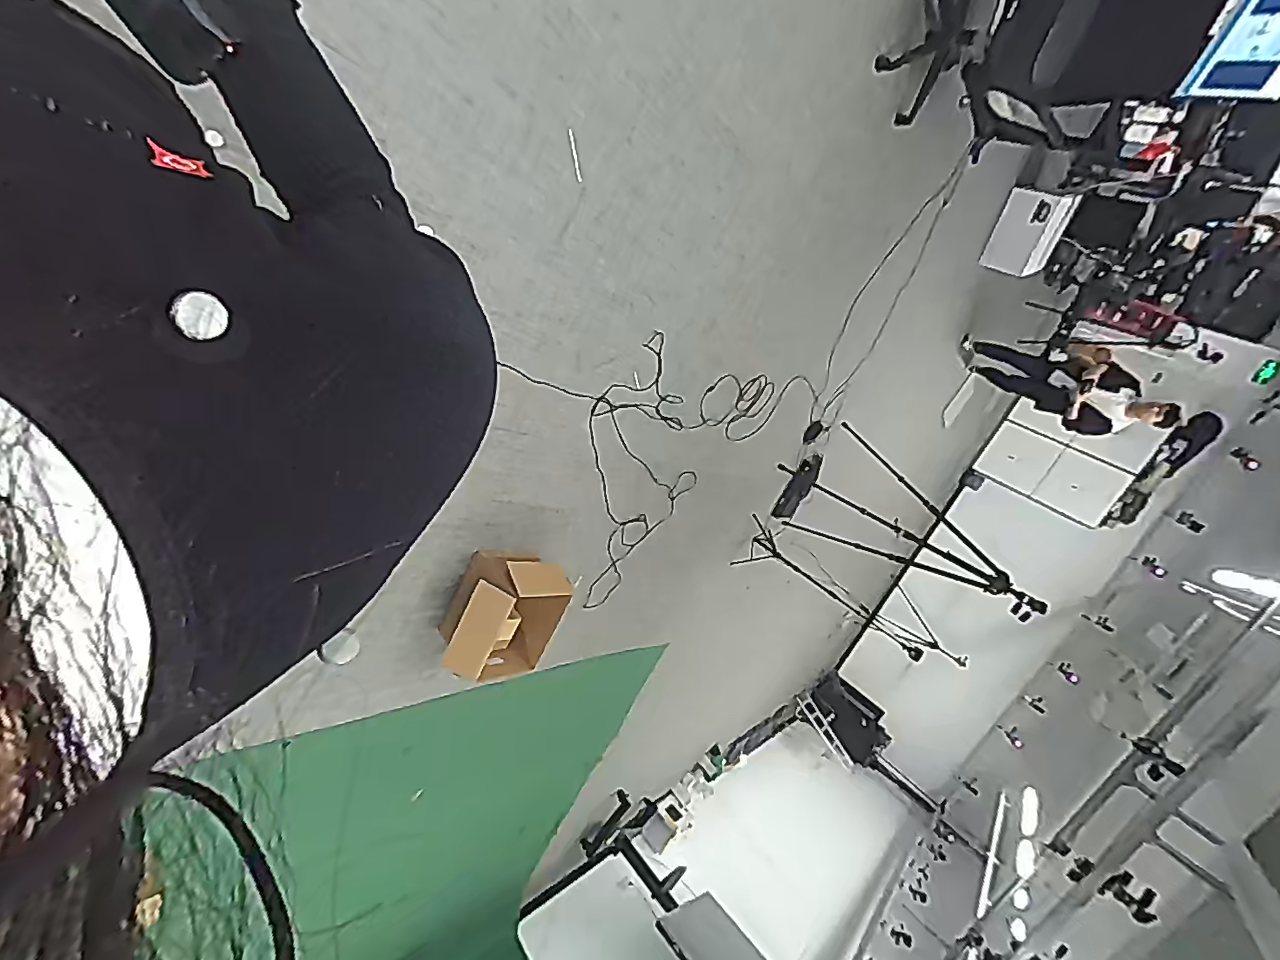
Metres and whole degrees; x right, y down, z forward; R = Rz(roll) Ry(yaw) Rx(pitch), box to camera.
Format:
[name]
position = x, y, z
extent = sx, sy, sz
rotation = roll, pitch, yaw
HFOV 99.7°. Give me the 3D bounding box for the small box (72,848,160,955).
[small box]
position = -1.678, 1.336, 1.727
extent = 0.179, 0.176, 0.168
rotation = 4, 118, -53
